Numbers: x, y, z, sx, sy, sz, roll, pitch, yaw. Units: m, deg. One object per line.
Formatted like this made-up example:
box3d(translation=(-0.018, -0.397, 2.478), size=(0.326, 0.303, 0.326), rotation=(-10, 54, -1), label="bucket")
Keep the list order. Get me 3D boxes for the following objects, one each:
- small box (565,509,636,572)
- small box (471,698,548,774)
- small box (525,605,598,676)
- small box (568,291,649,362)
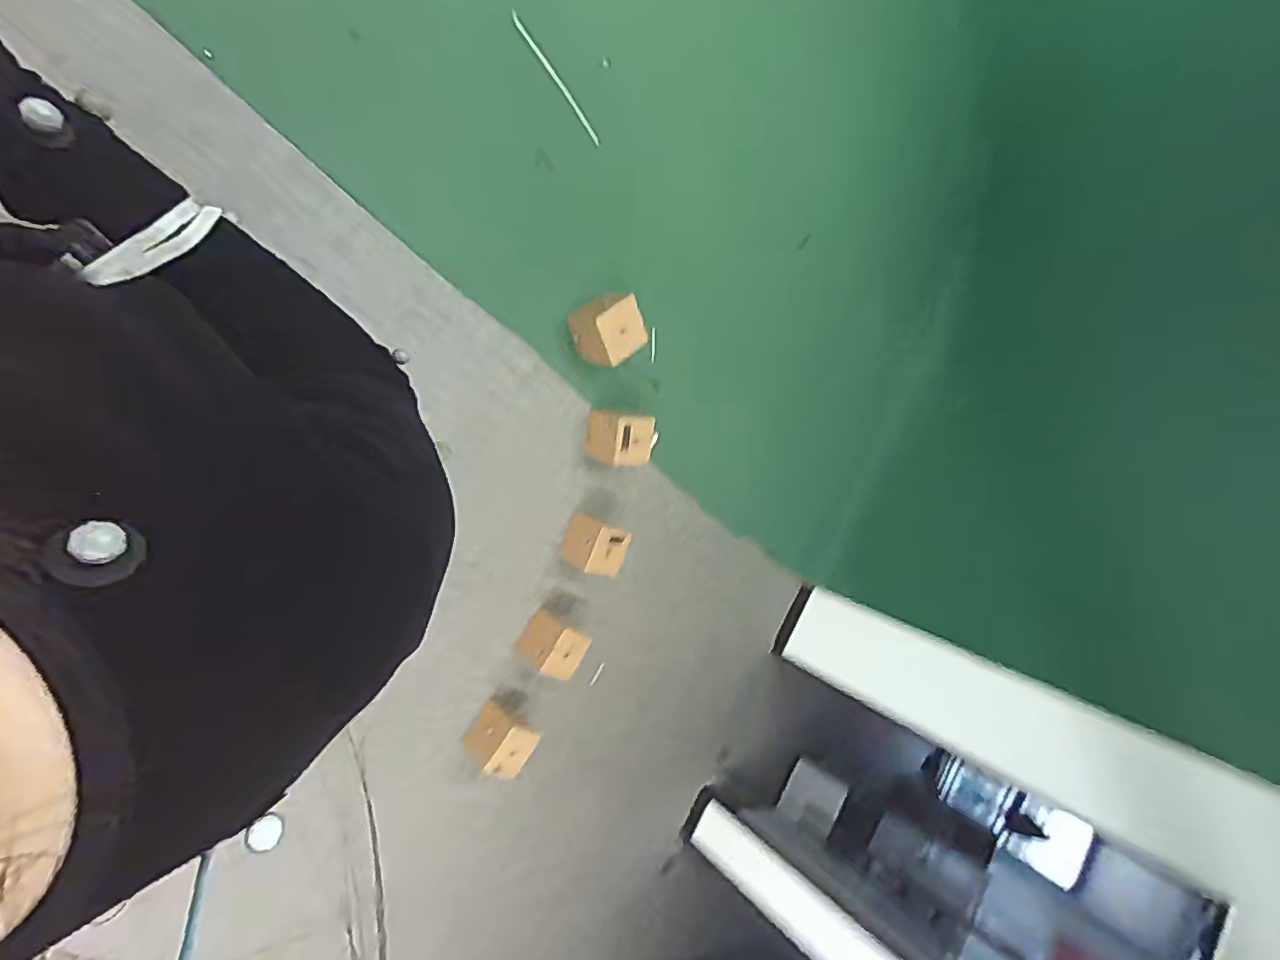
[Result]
box3d(translation=(-0.150, 0.221, 2.001), size=(0.168, 0.176, 0.179), rotation=(21, 91, -46), label="small box")
box3d(translation=(-0.474, 0.918, 1.947), size=(0.179, 0.176, 0.168), rotation=(-57, 135, -13), label="small box")
box3d(translation=(-0.297, 0.591, 1.997), size=(0.168, 0.176, 0.179), rotation=(39, 77, -46), label="small box")
box3d(translation=(-0.104, -0.511, 1.775), size=(0.179, 0.176, 0.168), rotation=(-42, 130, -25), label="small box")
